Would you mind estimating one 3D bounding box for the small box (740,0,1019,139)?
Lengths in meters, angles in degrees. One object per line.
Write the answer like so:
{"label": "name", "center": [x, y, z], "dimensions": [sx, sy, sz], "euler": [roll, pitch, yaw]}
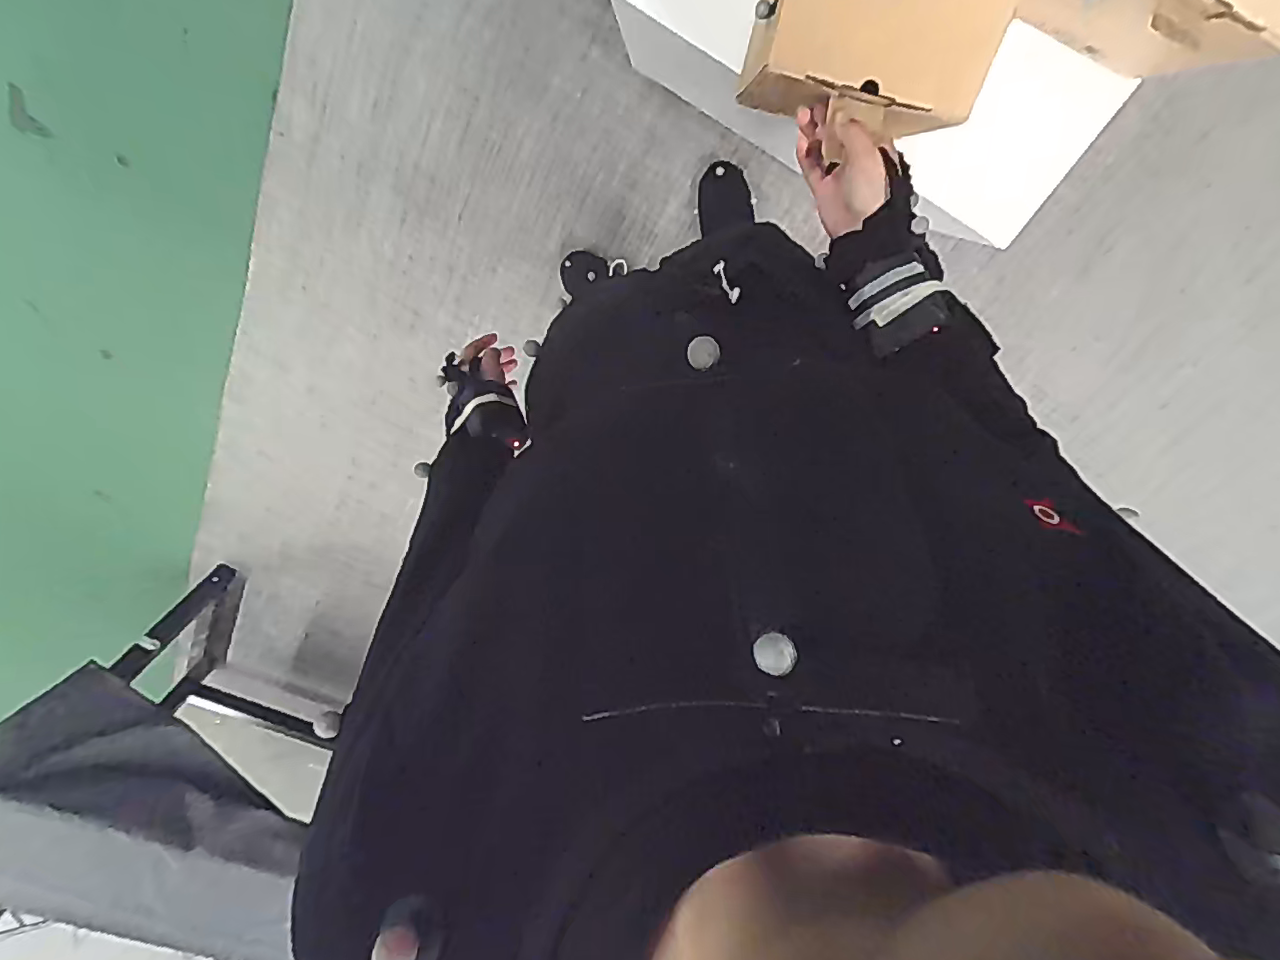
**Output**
{"label": "small box", "center": [0.190, -0.401, 0.441], "dimensions": [0.168, 0.176, 0.179], "euler": [11, 118, -5]}
